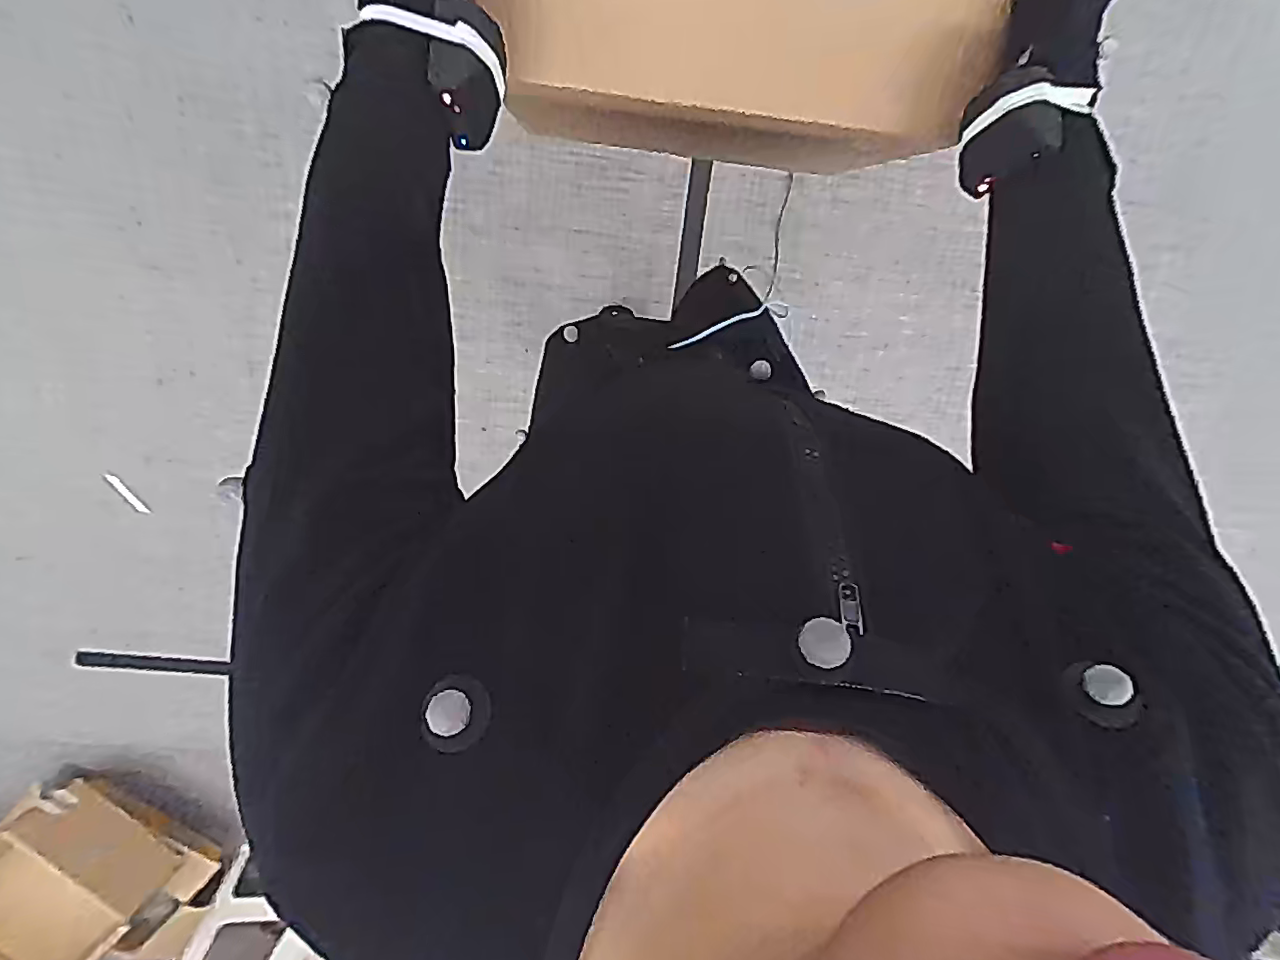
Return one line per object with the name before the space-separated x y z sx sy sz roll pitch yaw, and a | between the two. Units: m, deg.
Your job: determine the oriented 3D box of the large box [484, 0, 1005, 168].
large box | 0.081 -0.504 0.506 0.408 0.320 0.320 4 115 -6
